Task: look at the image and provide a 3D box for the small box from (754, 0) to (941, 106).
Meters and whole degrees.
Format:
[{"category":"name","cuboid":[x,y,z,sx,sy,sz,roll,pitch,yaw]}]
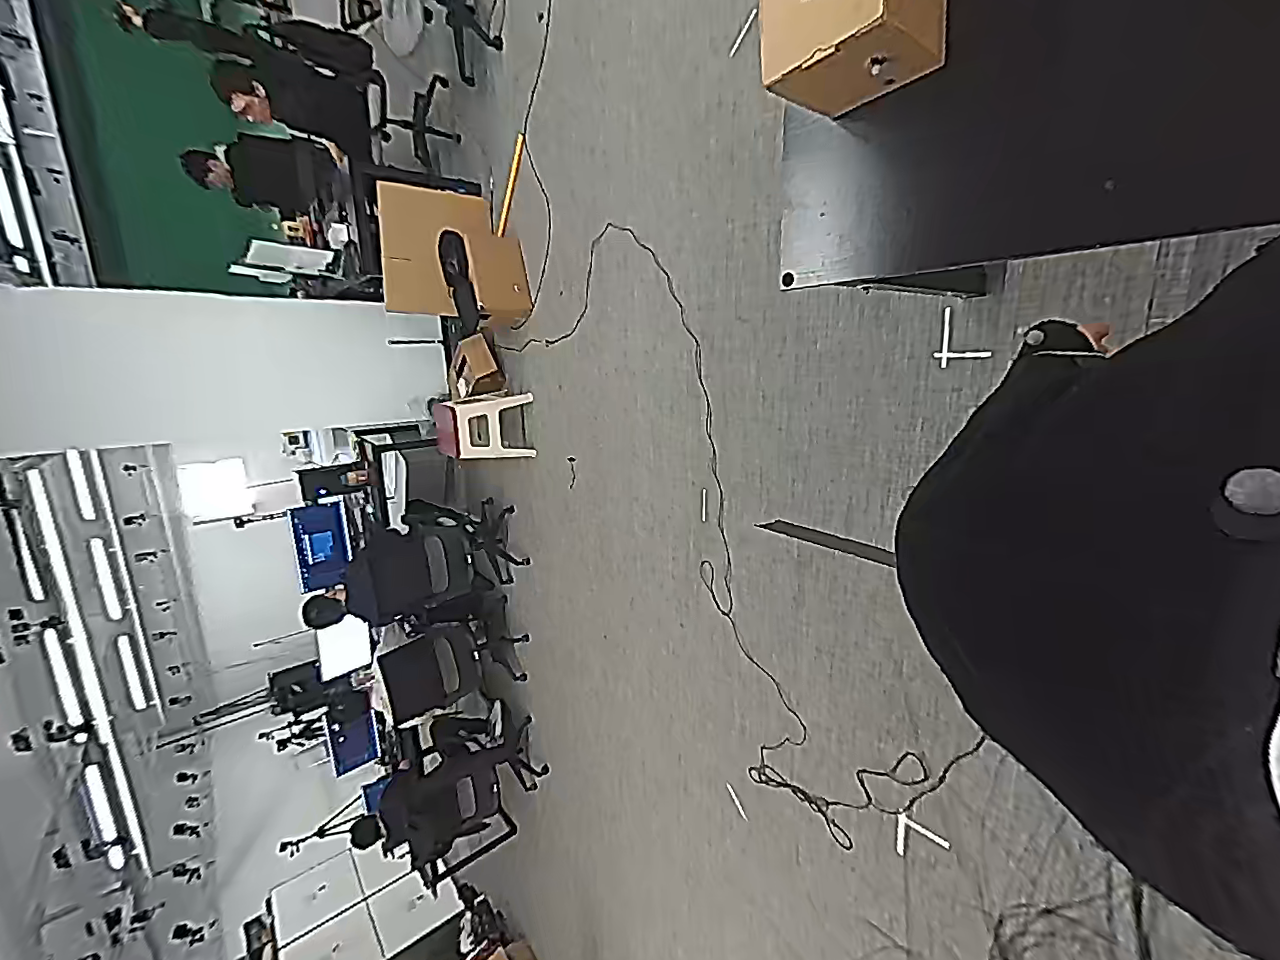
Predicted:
[{"category":"small box","cuboid":[0.262,-0.605,0.680,0.168,0.176,0.179,7,104,49]}]
